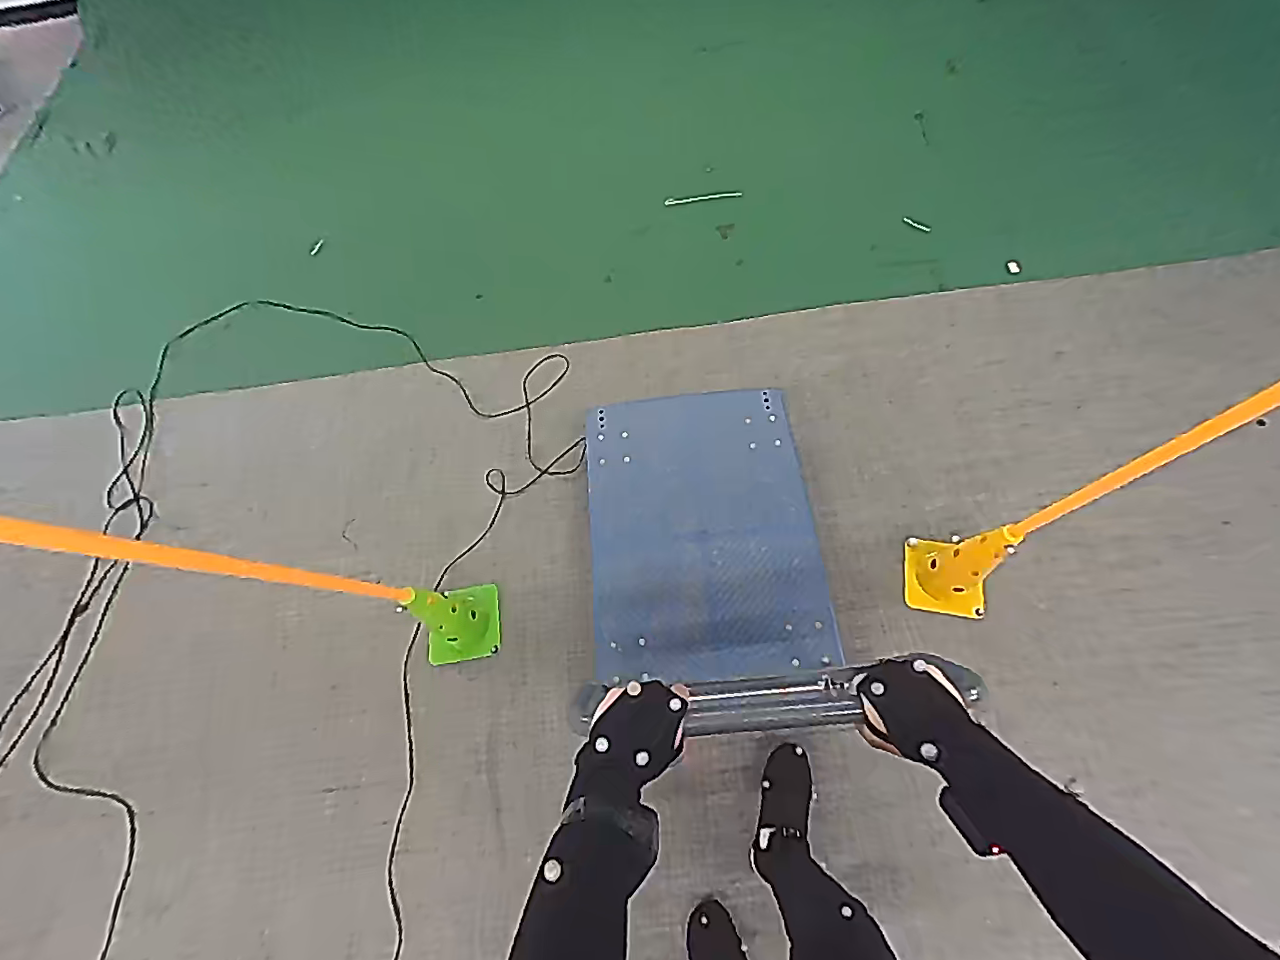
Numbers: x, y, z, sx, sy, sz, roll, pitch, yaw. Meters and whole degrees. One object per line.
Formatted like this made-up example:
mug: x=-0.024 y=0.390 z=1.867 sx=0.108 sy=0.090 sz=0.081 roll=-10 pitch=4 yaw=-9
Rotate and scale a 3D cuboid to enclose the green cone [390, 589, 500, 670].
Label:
green cone: x=-0.511 y=0.341 z=1.357 sx=0.202 sy=0.368 sz=0.200 roll=-12 pitch=64 yaw=2
